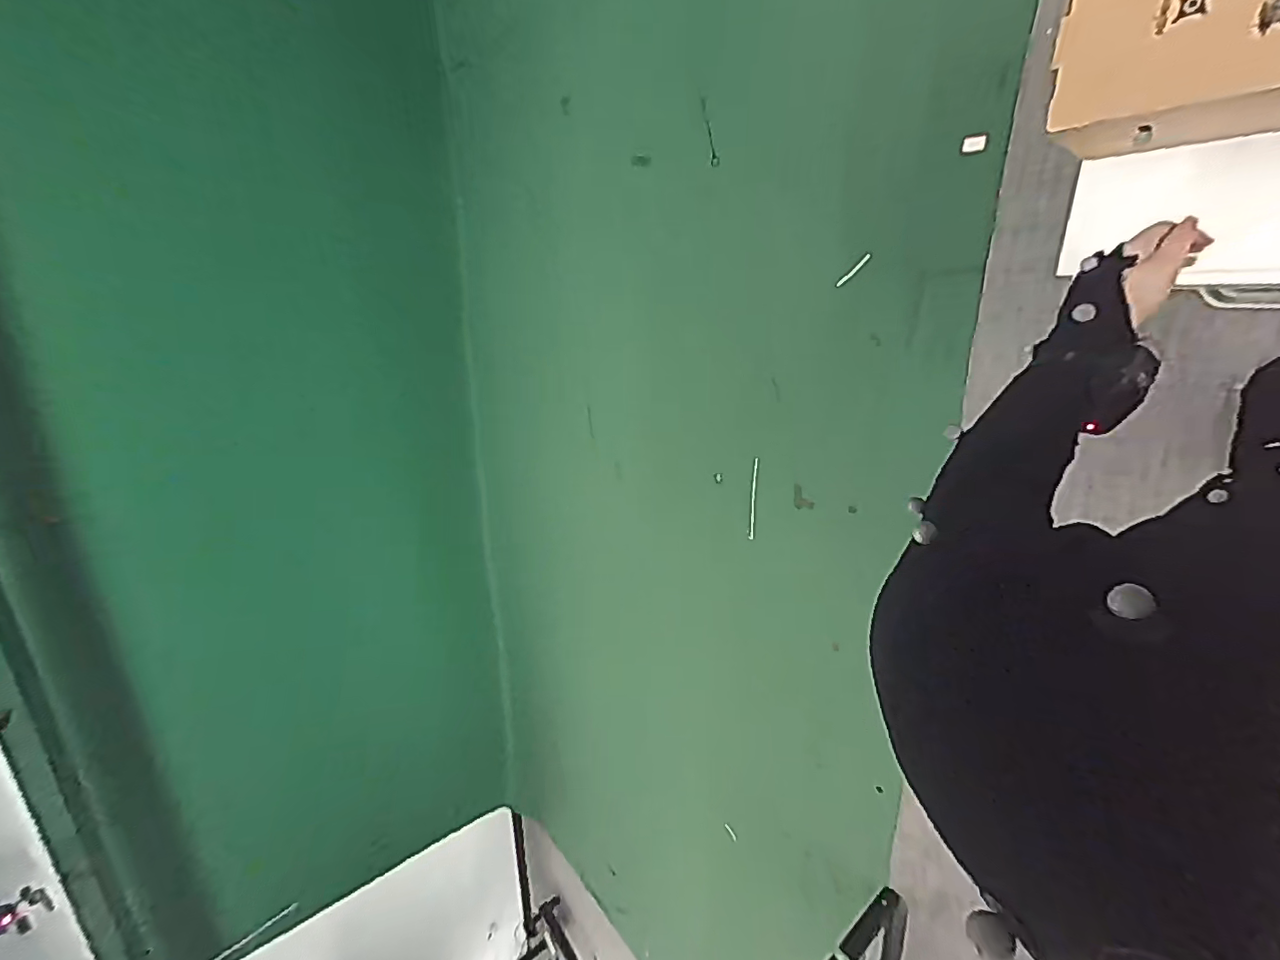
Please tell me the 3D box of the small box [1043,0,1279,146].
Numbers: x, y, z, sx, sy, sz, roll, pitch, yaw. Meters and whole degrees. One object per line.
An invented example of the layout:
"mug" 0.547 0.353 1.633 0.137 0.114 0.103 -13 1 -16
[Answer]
"small box" 0.541 -0.448 0.530 0.179 0.176 0.168 20 118 47
